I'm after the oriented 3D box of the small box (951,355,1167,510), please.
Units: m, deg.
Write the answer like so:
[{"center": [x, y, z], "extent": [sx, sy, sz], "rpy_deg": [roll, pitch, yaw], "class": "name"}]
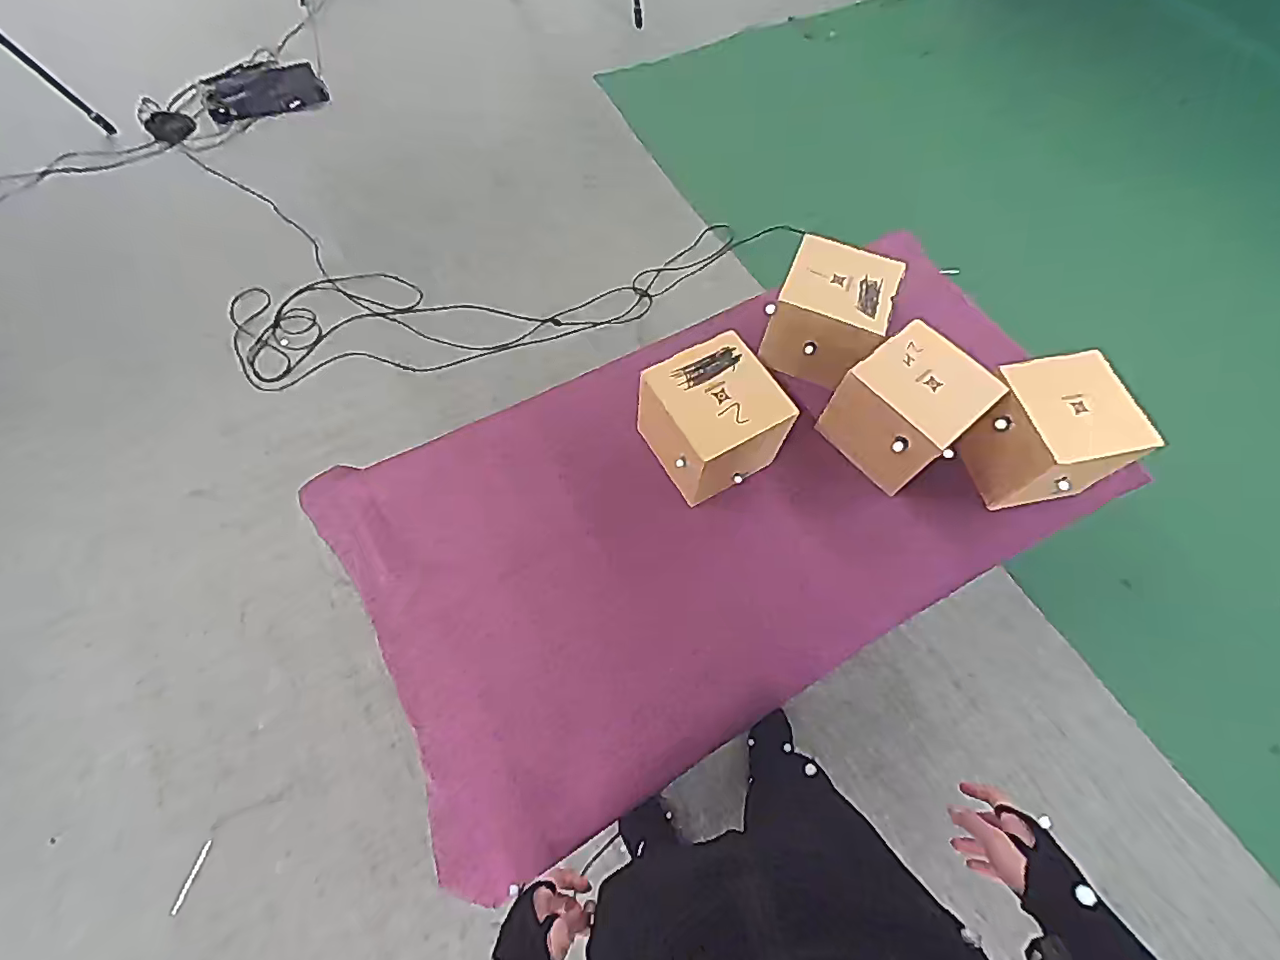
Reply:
[{"center": [0.635, -0.064, 0.847], "extent": [0.168, 0.176, 0.179], "rpy_deg": [-10, 63, -5], "class": "small box"}]
